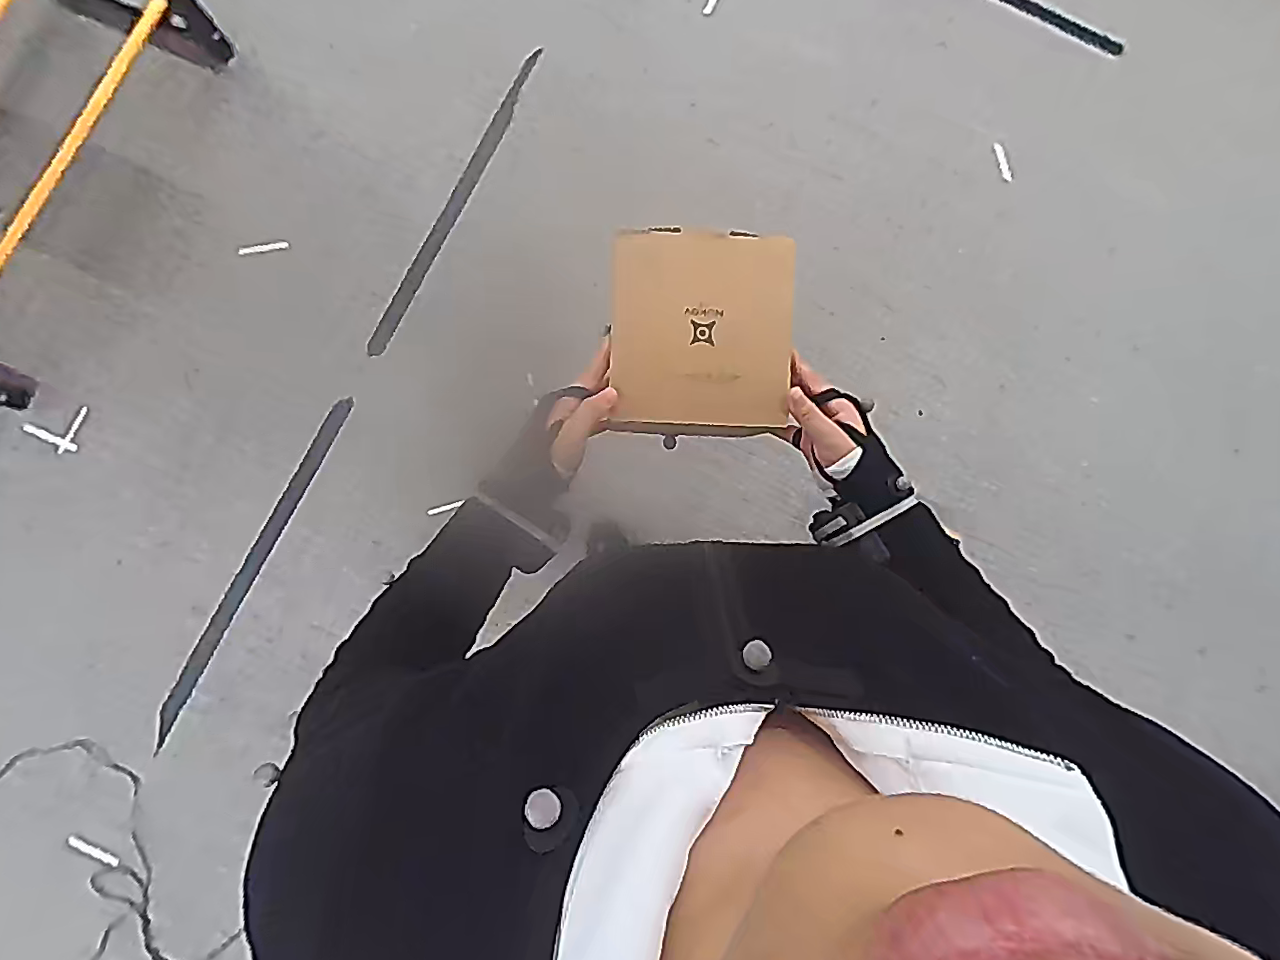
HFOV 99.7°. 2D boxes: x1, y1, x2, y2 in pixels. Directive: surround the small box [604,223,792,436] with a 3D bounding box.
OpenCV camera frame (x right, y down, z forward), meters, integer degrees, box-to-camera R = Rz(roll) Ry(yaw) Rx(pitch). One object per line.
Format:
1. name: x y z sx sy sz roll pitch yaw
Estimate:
1. small box: 0.048 -0.141 0.565 0.168 0.176 0.179 2 92 -3
